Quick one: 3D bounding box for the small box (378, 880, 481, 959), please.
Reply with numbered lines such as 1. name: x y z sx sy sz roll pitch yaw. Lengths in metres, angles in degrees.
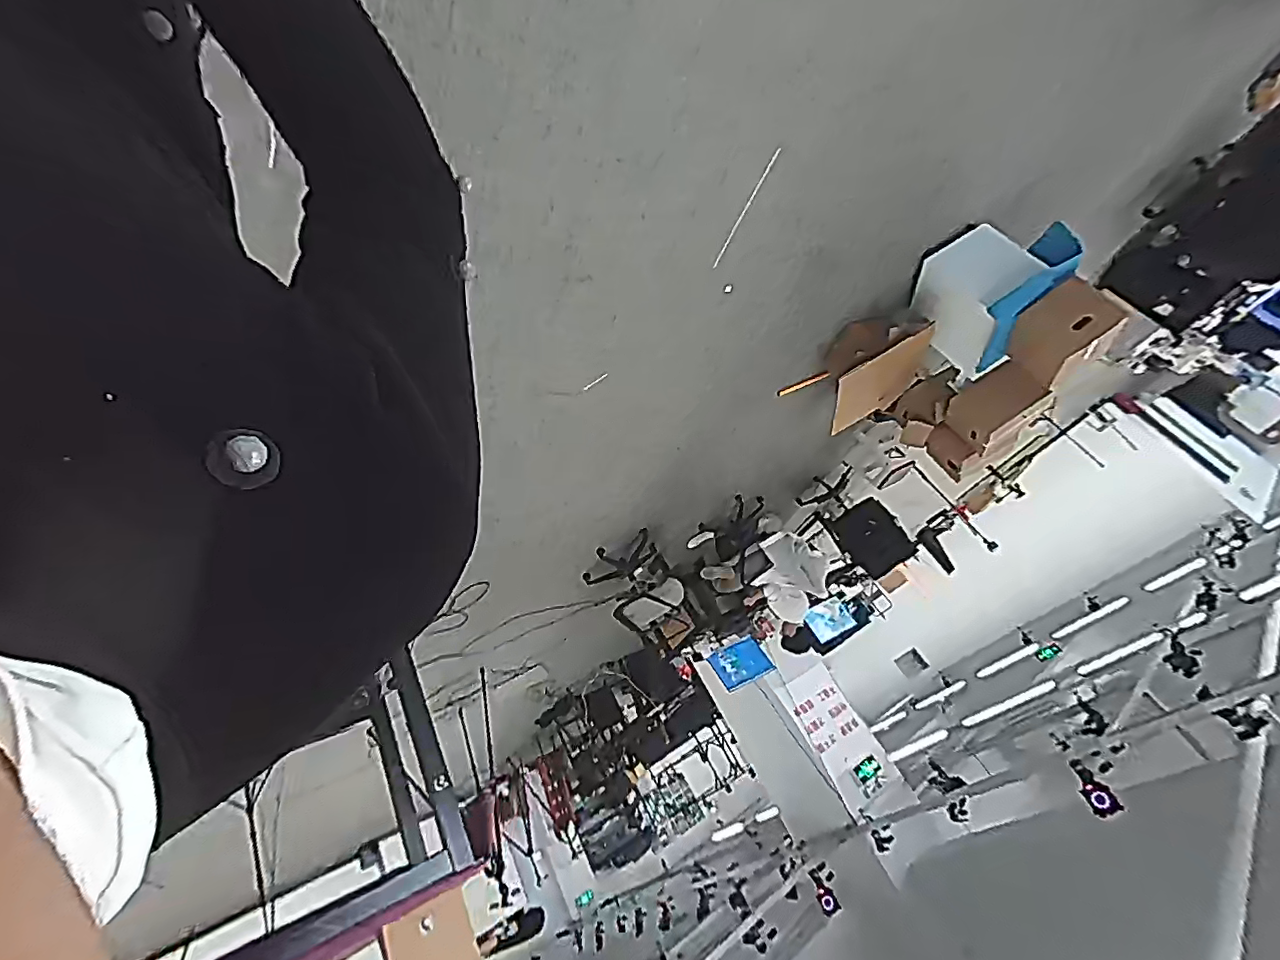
1. small box: -0.490 1.067 1.244 0.179 0.176 0.168 -9 146 -36
